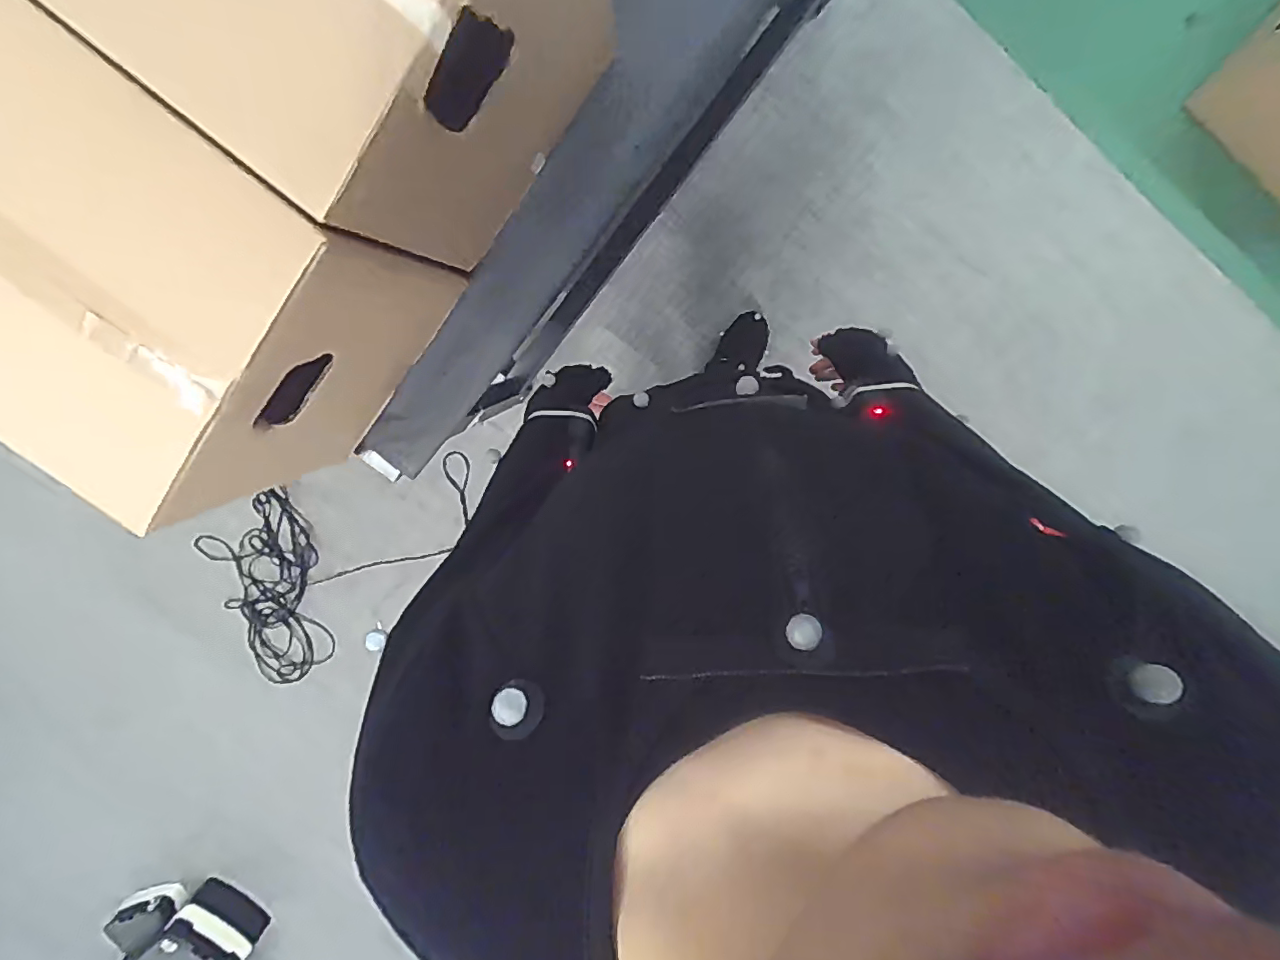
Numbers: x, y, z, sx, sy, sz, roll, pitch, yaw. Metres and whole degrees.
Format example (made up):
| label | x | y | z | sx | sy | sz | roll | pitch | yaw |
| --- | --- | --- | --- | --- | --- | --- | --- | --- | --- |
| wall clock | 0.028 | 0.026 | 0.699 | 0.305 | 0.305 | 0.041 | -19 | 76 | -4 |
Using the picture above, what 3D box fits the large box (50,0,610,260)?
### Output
| label | x | y | z | sx | sy | sz | roll | pitch | yaw |
| --- | --- | --- | --- | --- | --- | --- | --- | --- | --- |
| large box | -0.283 | -0.468 | 0.484 | 0.408 | 0.320 | 0.320 | 38 | 104 | -8 |
